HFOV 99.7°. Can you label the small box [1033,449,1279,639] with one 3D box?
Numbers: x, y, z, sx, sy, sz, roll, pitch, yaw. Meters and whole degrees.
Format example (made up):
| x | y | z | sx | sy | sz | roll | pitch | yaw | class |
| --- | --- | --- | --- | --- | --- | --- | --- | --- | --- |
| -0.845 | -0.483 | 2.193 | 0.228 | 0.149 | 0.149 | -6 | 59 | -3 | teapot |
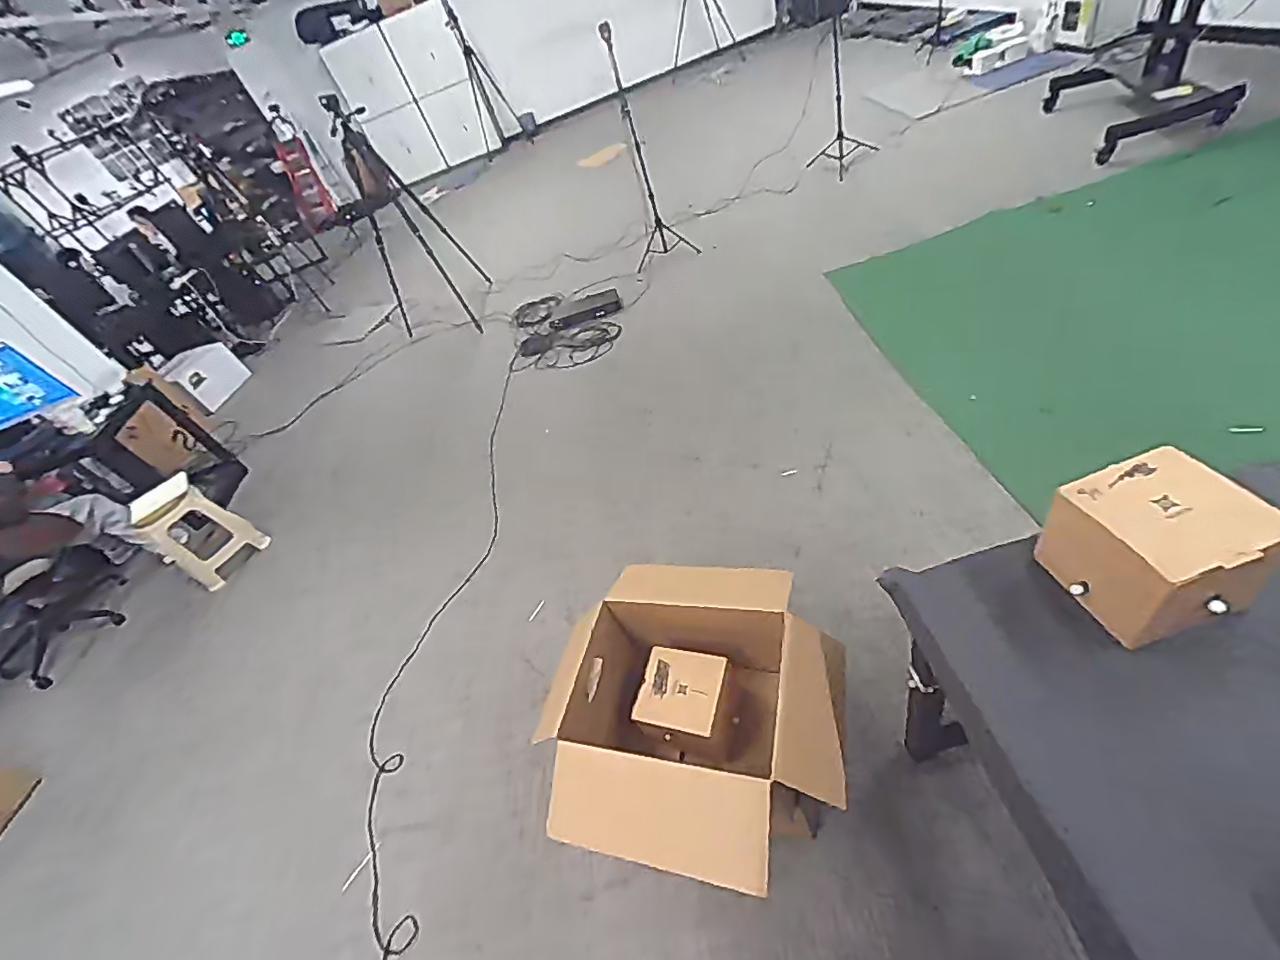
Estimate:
| x | y | z | sx | sy | sz | roll | pitch | yaw | class |
| --- | --- | --- | --- | --- | --- | --- | --- | --- | --- |
| 0.689 | 0.094 | 0.738 | 0.168 | 0.176 | 0.179 | -21 | 44 | 2 | small box |
